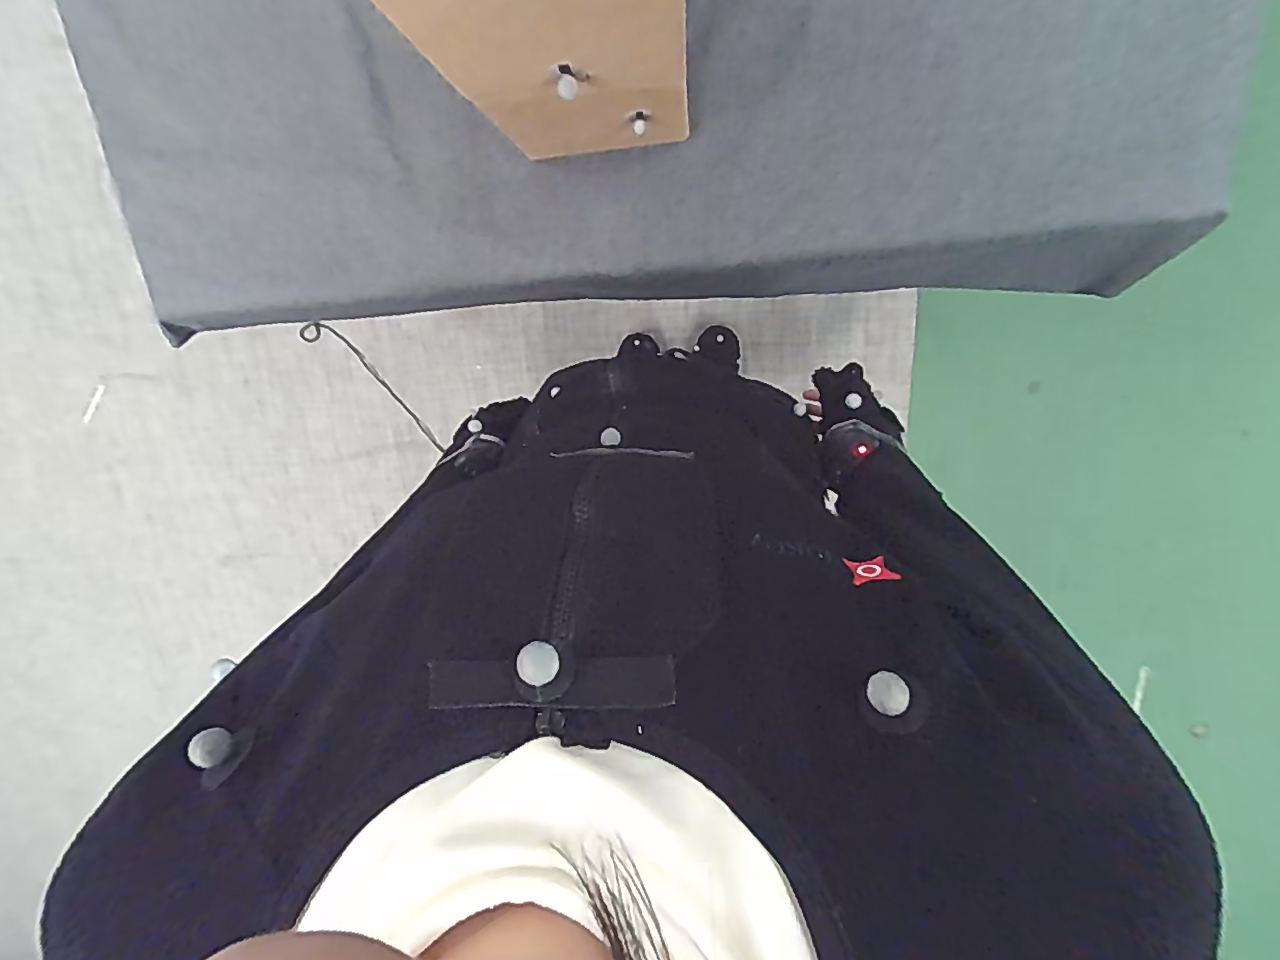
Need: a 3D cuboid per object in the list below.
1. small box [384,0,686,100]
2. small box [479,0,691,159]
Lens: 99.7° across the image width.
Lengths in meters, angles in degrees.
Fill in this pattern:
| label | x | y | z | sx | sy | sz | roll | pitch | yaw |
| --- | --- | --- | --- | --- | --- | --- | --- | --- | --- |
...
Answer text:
| label | x | y | z | sx | sy | sz | roll | pitch | yaw |
| --- | --- | --- | --- | --- | --- | --- | --- | --- | --- |
| small box | -0.060 | -0.368 | 0.336 | 0.179 | 0.176 | 0.168 | -2 | 105 | 6 |
| small box | -0.046 | -0.415 | 0.492 | 0.179 | 0.176 | 0.168 | -4 | 105 | 8 |
